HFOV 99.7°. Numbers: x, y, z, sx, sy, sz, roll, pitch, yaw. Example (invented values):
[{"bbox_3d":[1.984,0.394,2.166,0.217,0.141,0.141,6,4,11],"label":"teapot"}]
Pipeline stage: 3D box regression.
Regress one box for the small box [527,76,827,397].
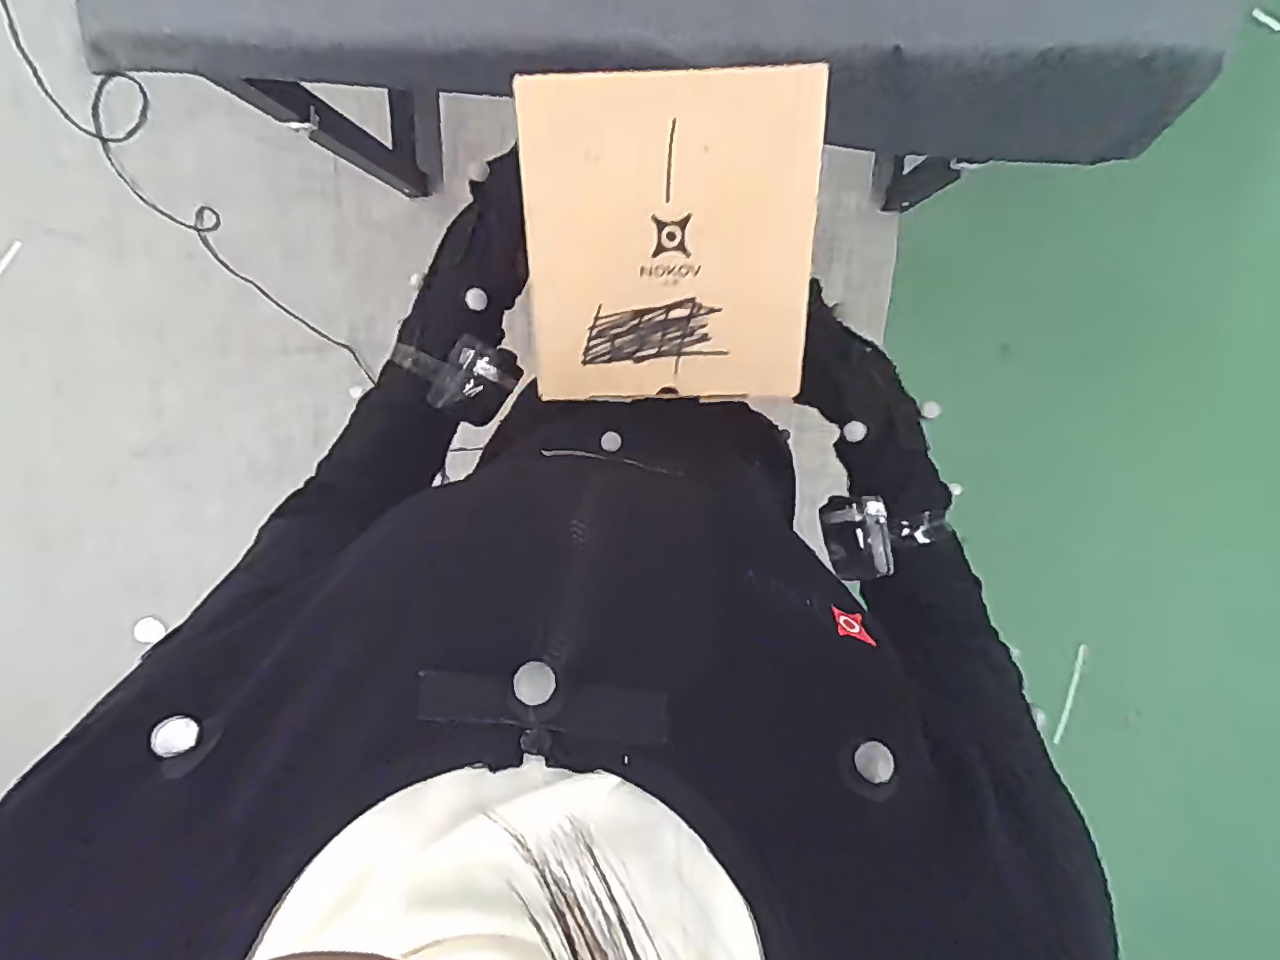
[{"bbox_3d":[0.022,-0.166,0.396,0.168,0.176,0.179,1,111,2],"label":"small box"}]
